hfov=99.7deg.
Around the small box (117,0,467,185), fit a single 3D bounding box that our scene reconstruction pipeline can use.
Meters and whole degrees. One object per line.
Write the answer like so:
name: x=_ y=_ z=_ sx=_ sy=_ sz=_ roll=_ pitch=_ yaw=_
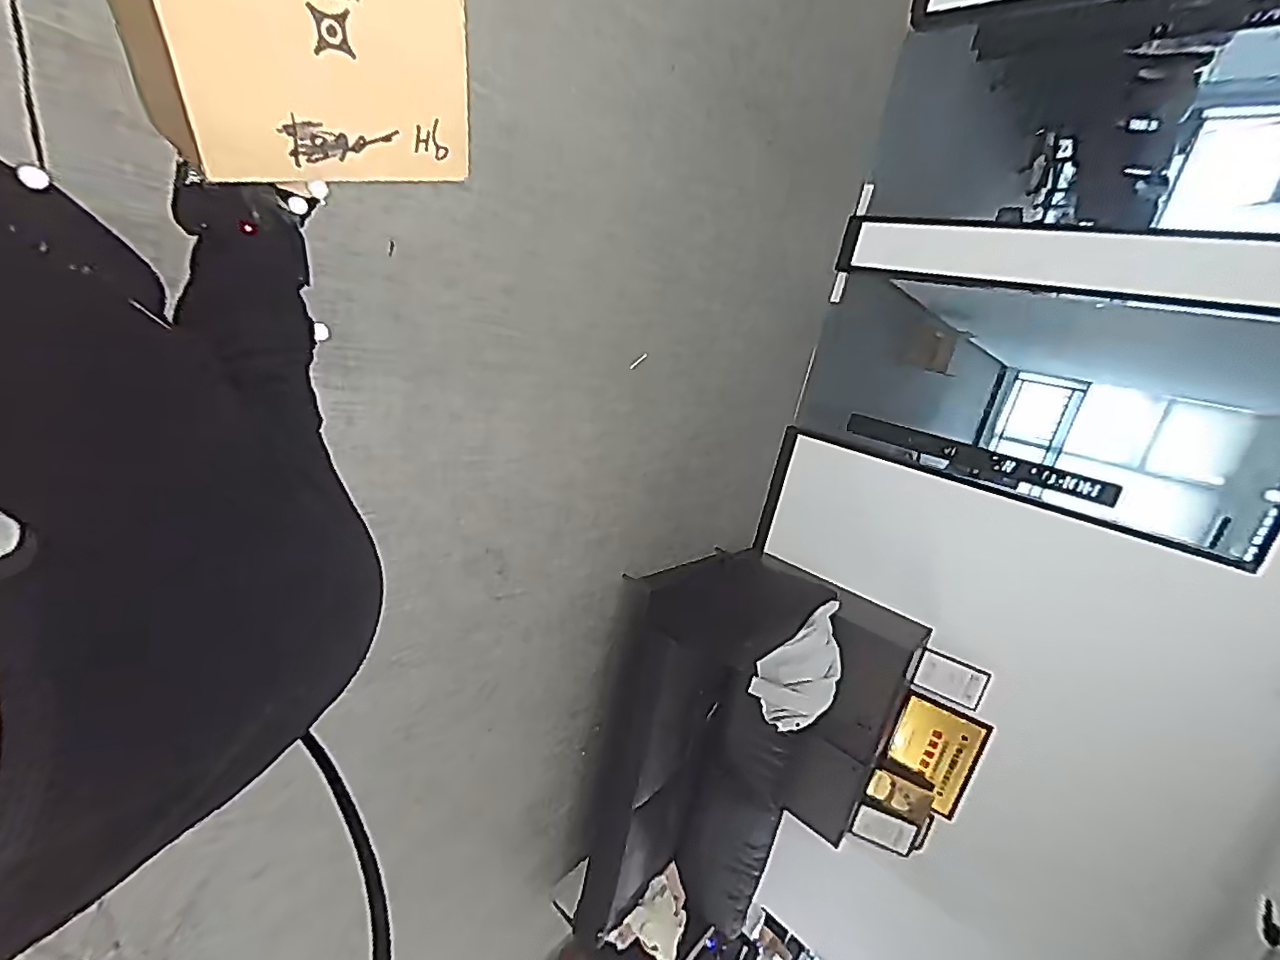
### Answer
small box: x=-0.234 y=-0.313 z=0.359 sx=0.168 sy=0.176 sz=0.179 roll=-24 pitch=140 yaw=-37
